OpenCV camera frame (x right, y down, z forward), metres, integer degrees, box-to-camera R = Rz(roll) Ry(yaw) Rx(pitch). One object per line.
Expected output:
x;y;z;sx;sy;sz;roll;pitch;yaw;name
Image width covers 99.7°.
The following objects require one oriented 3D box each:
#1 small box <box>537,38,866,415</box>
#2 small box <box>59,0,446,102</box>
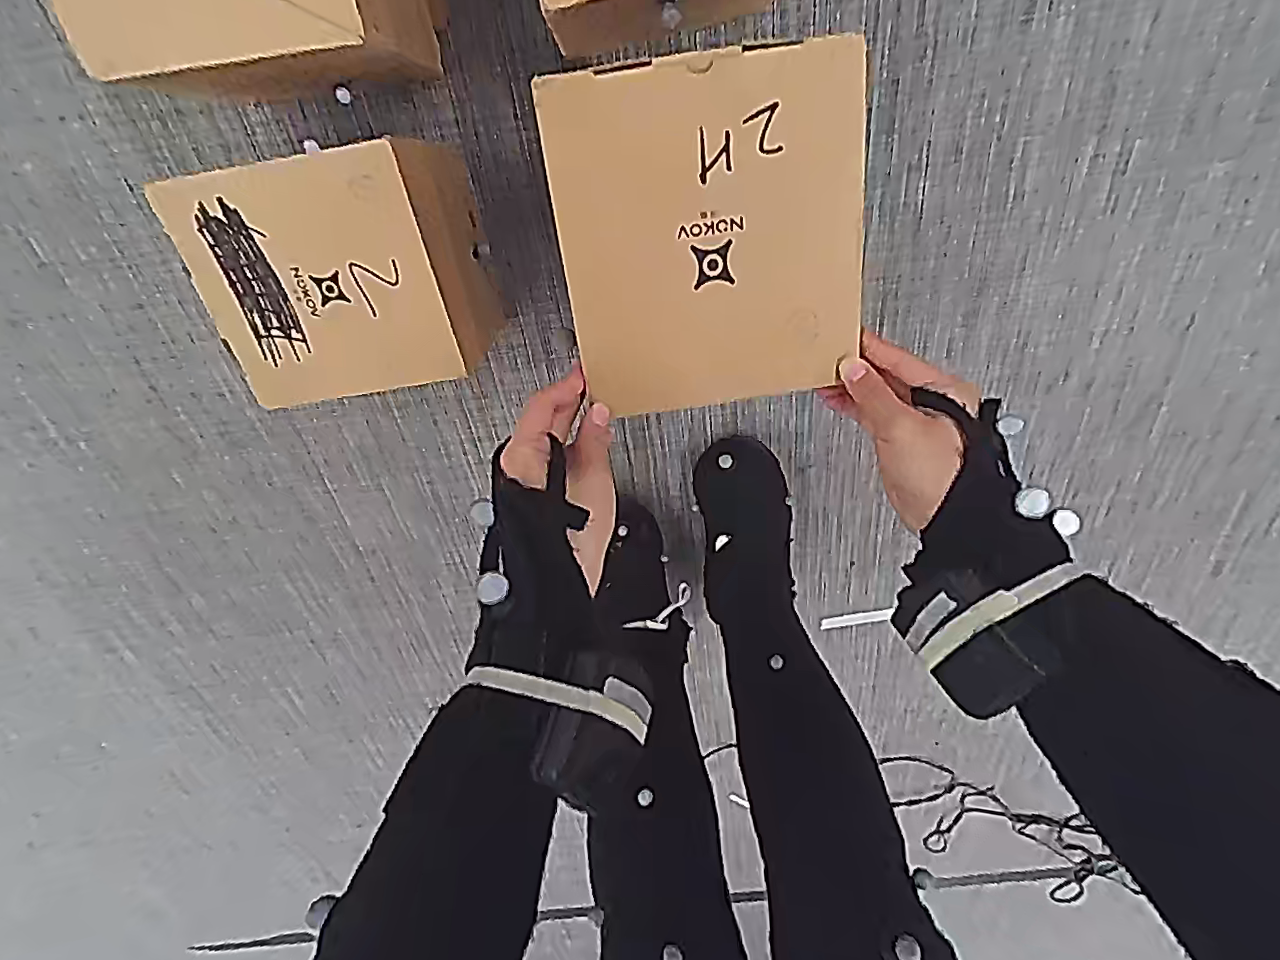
0.035;-0.160;0.371;0.168;0.176;0.179;-8;113;-1;small box
-0.257;-0.364;0.354;0.179;0.176;0.168;-7;120;2;small box
